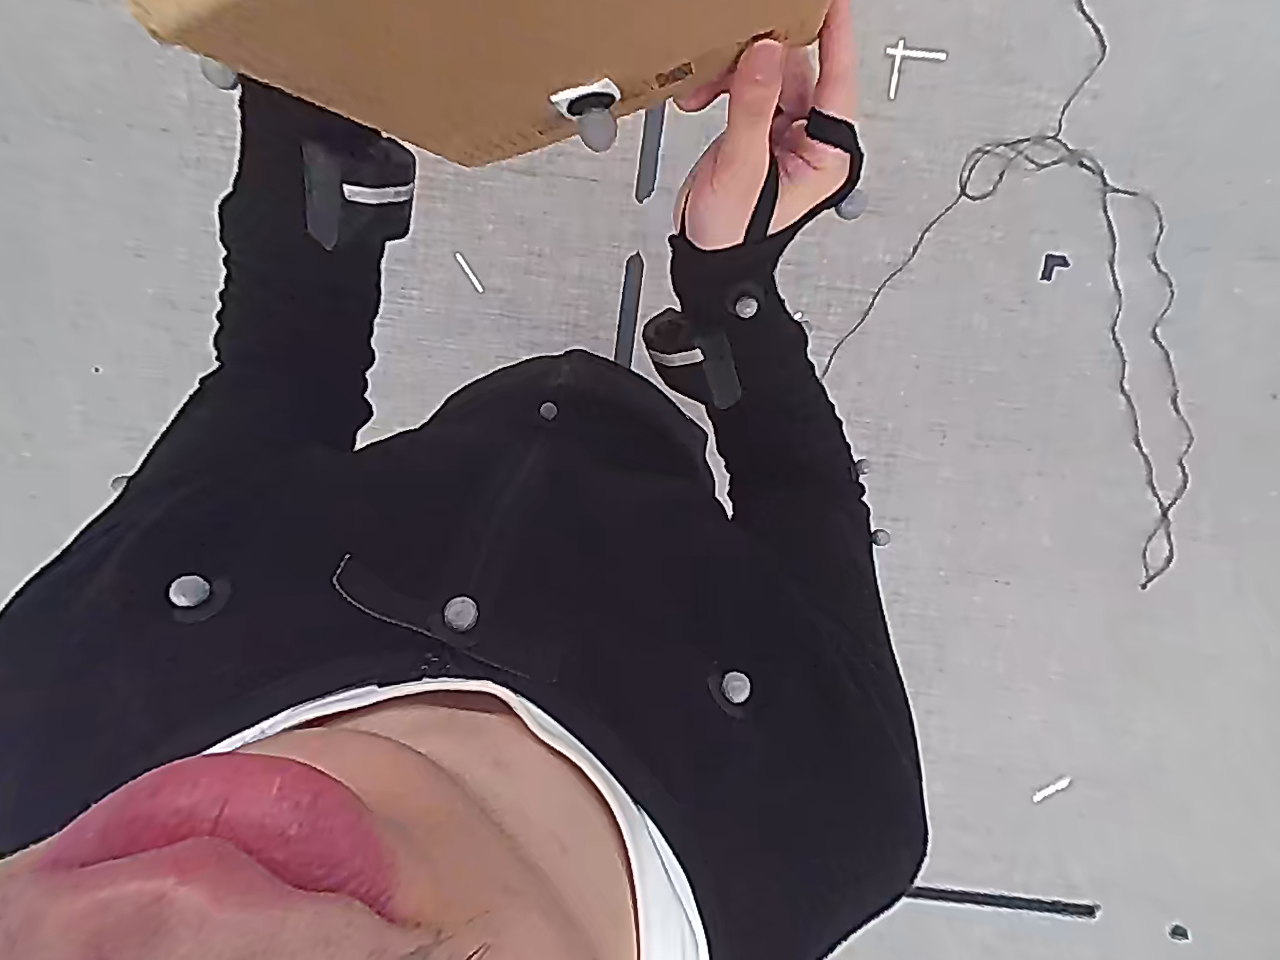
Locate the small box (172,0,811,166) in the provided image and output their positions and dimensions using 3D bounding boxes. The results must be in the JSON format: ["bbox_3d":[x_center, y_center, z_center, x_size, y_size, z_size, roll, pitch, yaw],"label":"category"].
[{"bbox_3d":[-0.041,-0.227,0.162,0.168,0.176,0.179,-13,107,16],"label":"small box"}]
